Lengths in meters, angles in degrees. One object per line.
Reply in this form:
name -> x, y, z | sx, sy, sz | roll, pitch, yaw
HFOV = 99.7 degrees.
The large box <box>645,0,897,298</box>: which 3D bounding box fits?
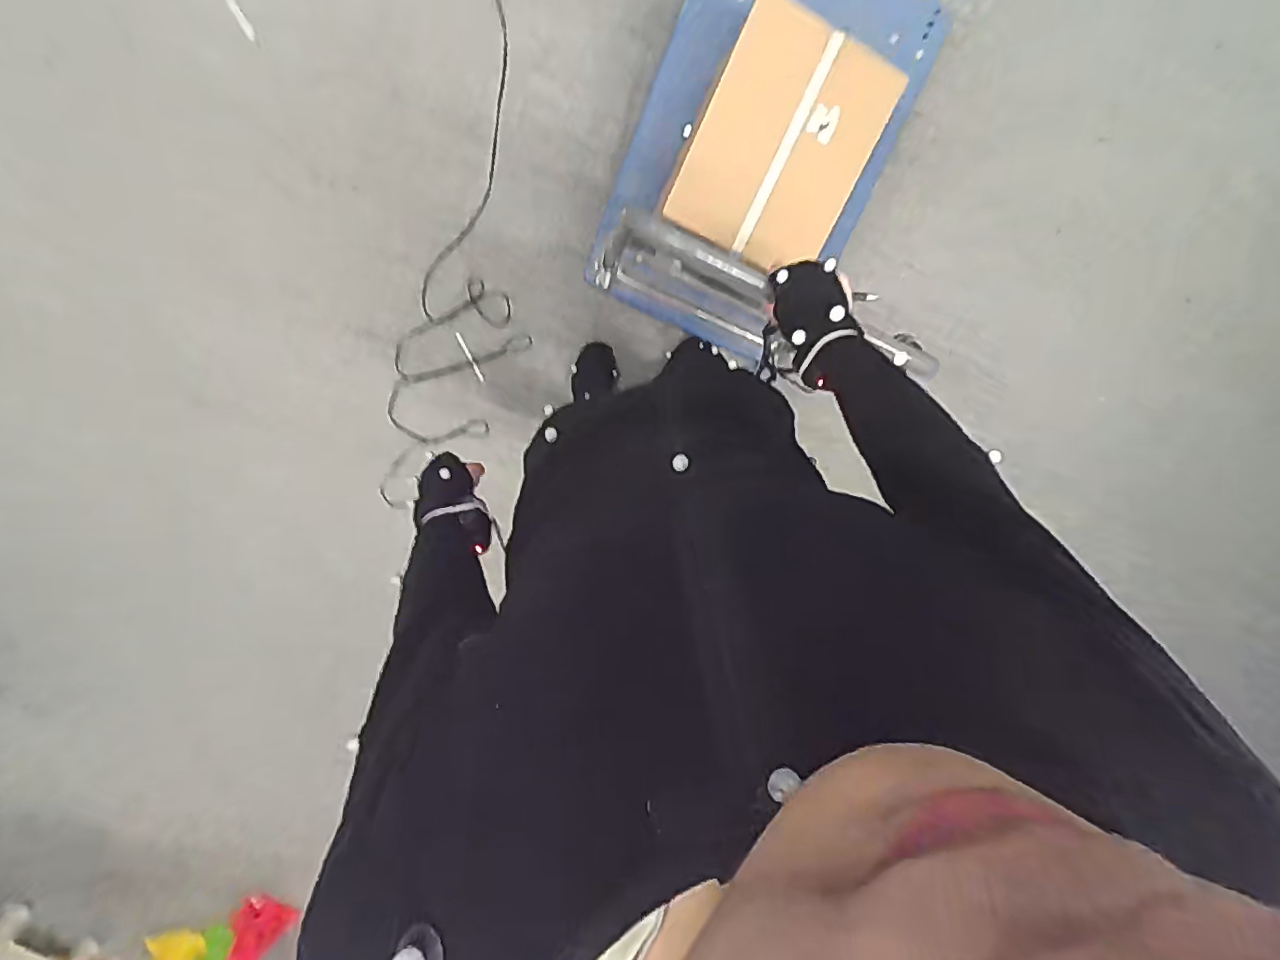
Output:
large box -> 0.237, -0.641, 1.134 | 0.320, 0.320, 0.408 | 23, 102, -13
